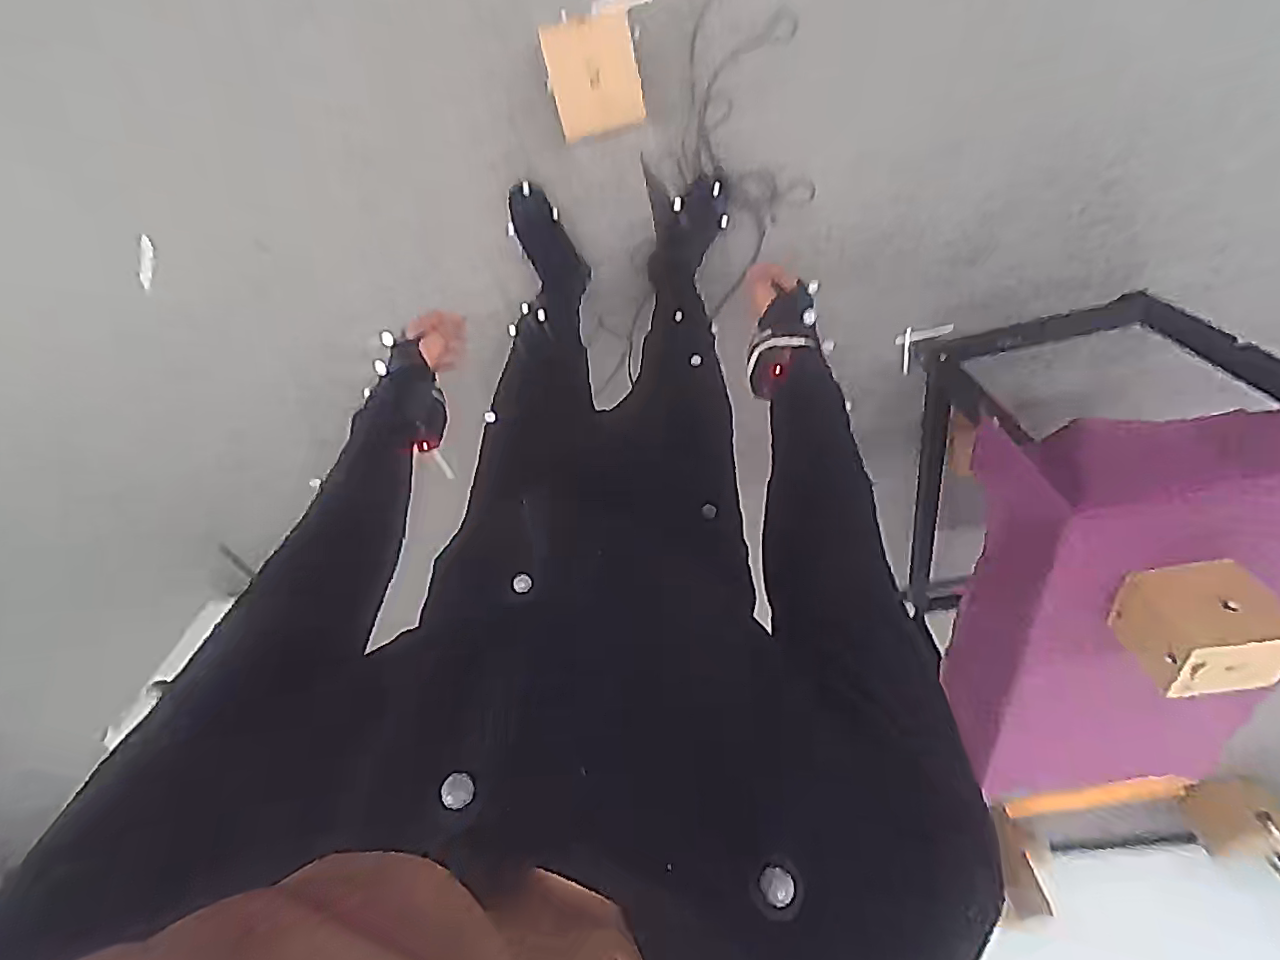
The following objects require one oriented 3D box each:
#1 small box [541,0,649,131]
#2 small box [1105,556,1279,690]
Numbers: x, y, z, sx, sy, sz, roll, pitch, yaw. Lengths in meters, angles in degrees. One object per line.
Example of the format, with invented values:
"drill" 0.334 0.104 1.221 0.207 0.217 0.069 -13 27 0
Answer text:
"small box" -0.081 -0.813 1.060 0.168 0.176 0.179 -10 129 9
"small box" 1.028 0.260 1.000 0.179 0.176 0.168 -13 128 10
